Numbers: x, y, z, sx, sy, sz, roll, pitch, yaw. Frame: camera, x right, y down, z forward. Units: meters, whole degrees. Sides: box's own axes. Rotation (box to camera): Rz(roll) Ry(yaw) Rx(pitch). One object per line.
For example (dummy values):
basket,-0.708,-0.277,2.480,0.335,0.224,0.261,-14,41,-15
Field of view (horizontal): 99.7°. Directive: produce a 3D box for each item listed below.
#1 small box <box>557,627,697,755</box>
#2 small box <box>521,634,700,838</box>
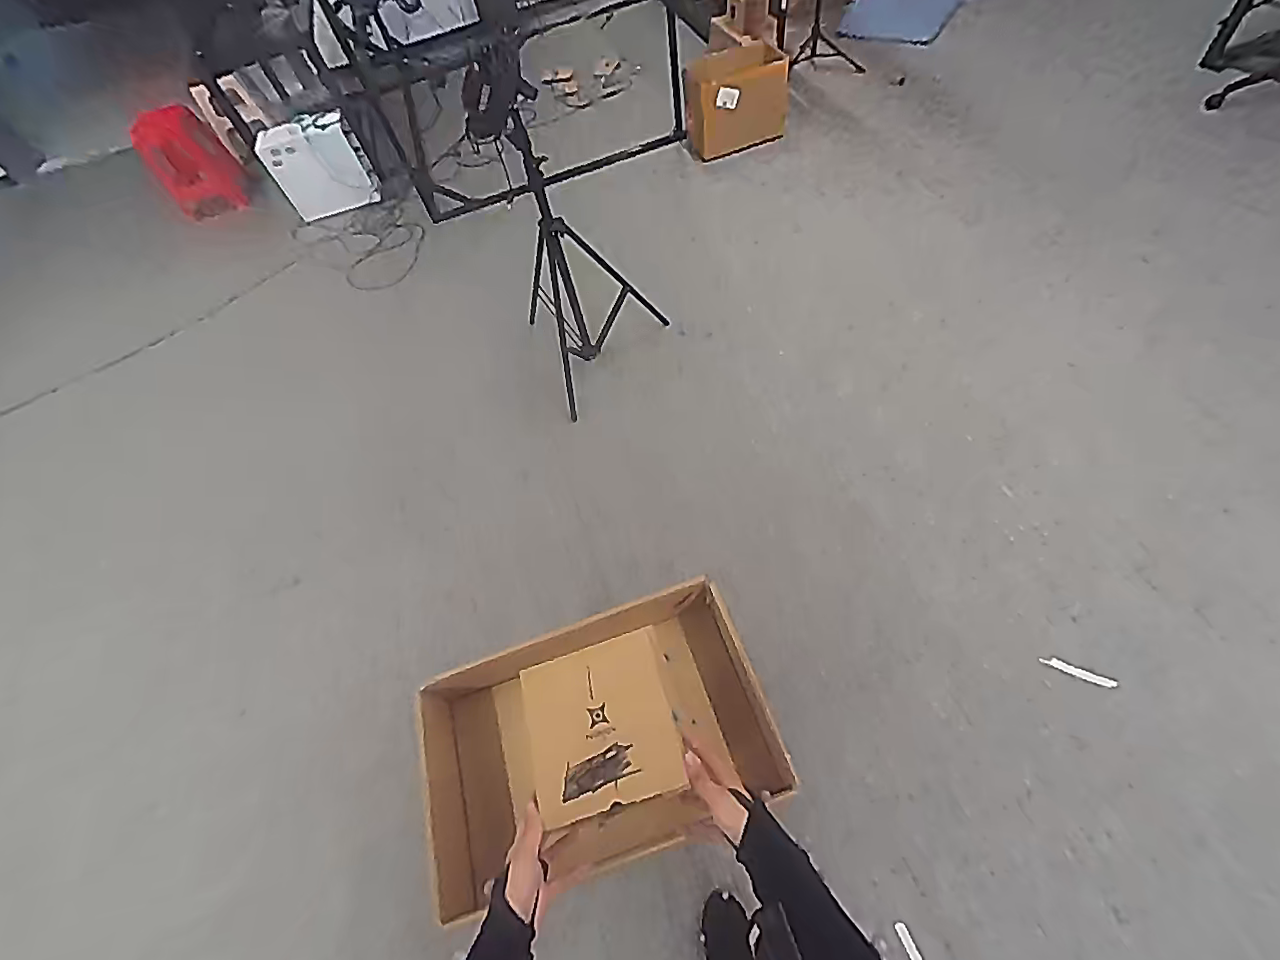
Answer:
small box,-0.018,0.360,0.853,0.168,0.176,0.179,-19,58,1
small box,-0.031,0.317,0.671,0.168,0.176,0.179,-18,57,1
